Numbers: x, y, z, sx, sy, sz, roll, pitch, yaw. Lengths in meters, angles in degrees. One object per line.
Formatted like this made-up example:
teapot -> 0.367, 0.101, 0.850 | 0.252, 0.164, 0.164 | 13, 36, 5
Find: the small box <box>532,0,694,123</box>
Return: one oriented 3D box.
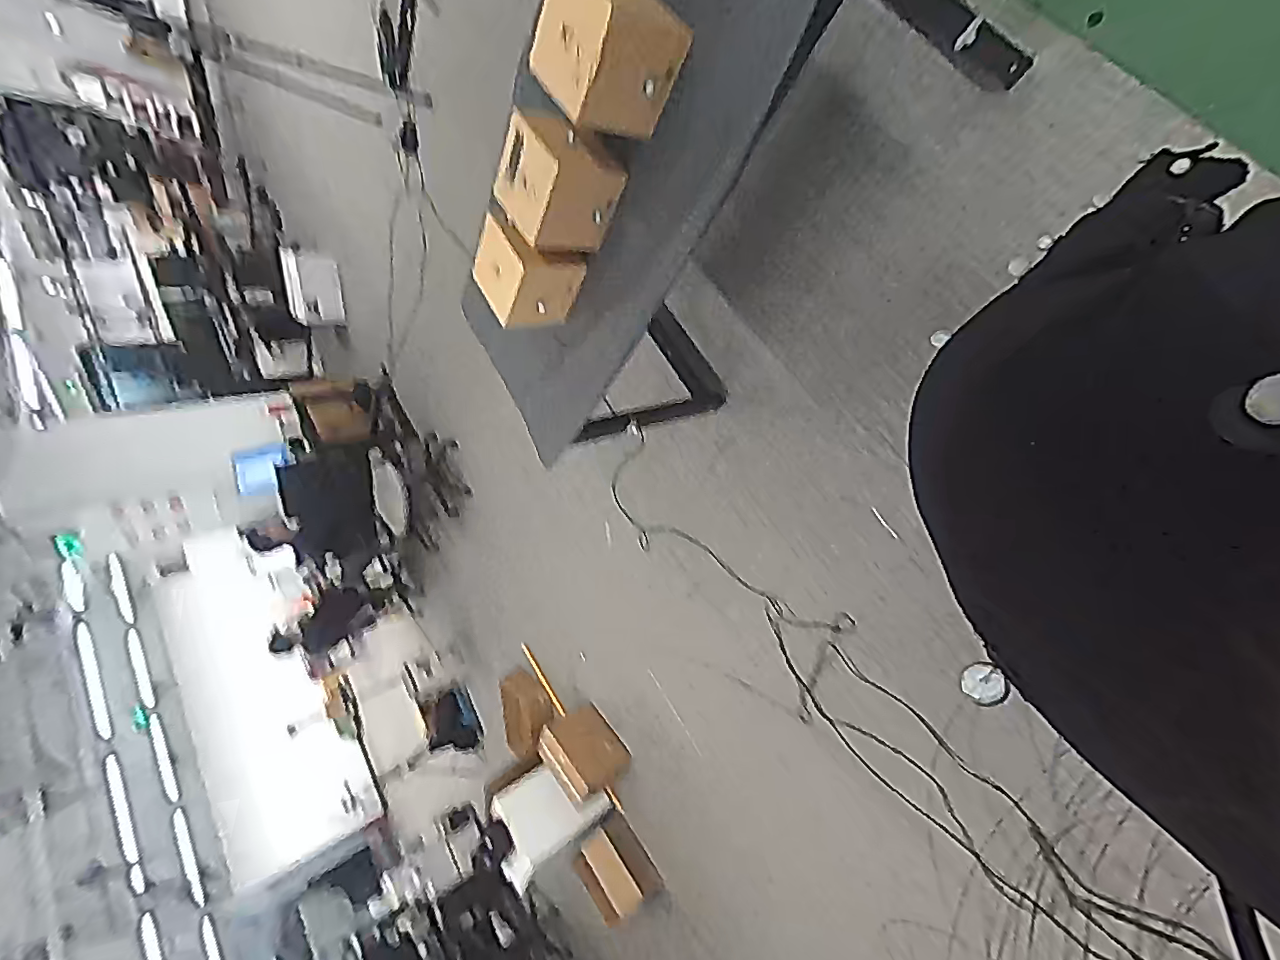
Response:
small box -> -0.047, -0.727, 0.892 | 0.179, 0.176, 0.168 | 57, 139, 18
